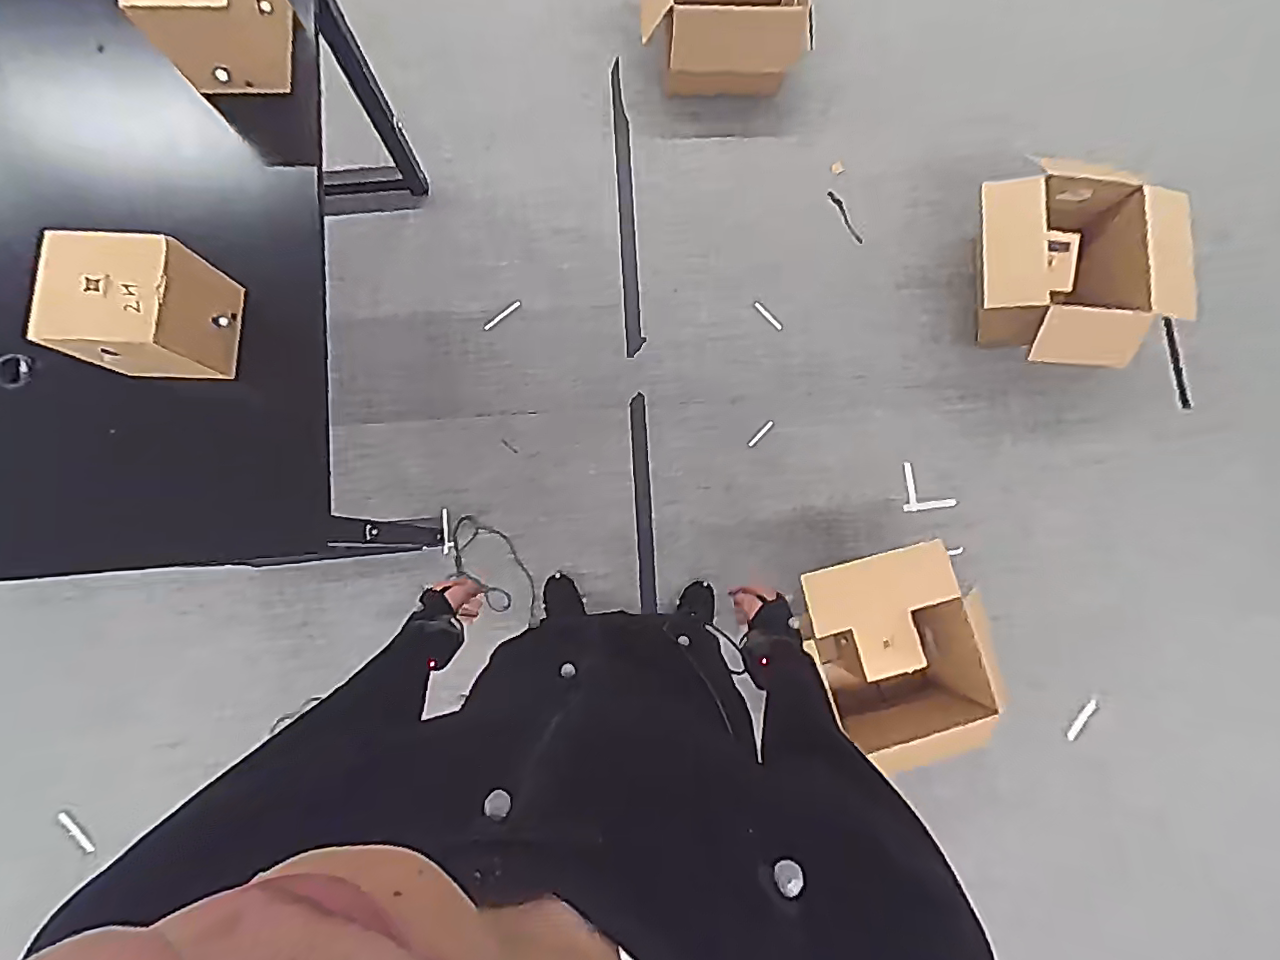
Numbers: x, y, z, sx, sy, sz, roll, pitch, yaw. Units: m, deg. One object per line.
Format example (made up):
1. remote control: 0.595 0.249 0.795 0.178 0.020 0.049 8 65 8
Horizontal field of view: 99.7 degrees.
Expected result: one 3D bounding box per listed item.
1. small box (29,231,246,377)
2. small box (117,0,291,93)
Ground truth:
1. small box: -0.772 -0.266 0.850 0.179 0.176 0.168 1 84 -3
2. small box: -0.724 -0.803 0.916 0.168 0.176 0.179 -2 85 -2
